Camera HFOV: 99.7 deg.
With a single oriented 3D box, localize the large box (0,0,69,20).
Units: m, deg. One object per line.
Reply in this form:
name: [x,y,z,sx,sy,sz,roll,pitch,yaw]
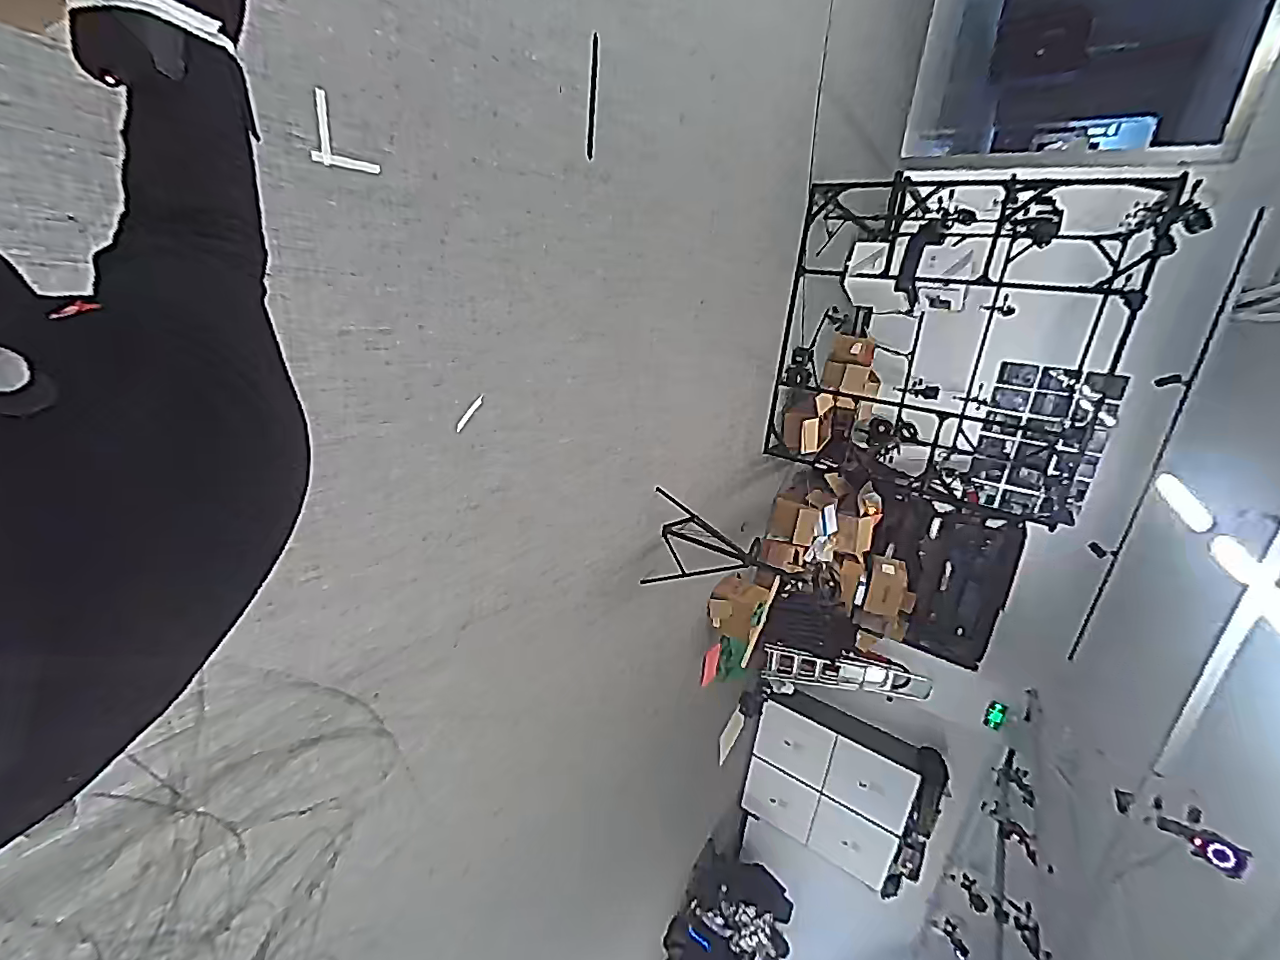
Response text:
large box: [-0.542,-0.503,0.236,0.408,0.320,0.320,-11,119,-55]
